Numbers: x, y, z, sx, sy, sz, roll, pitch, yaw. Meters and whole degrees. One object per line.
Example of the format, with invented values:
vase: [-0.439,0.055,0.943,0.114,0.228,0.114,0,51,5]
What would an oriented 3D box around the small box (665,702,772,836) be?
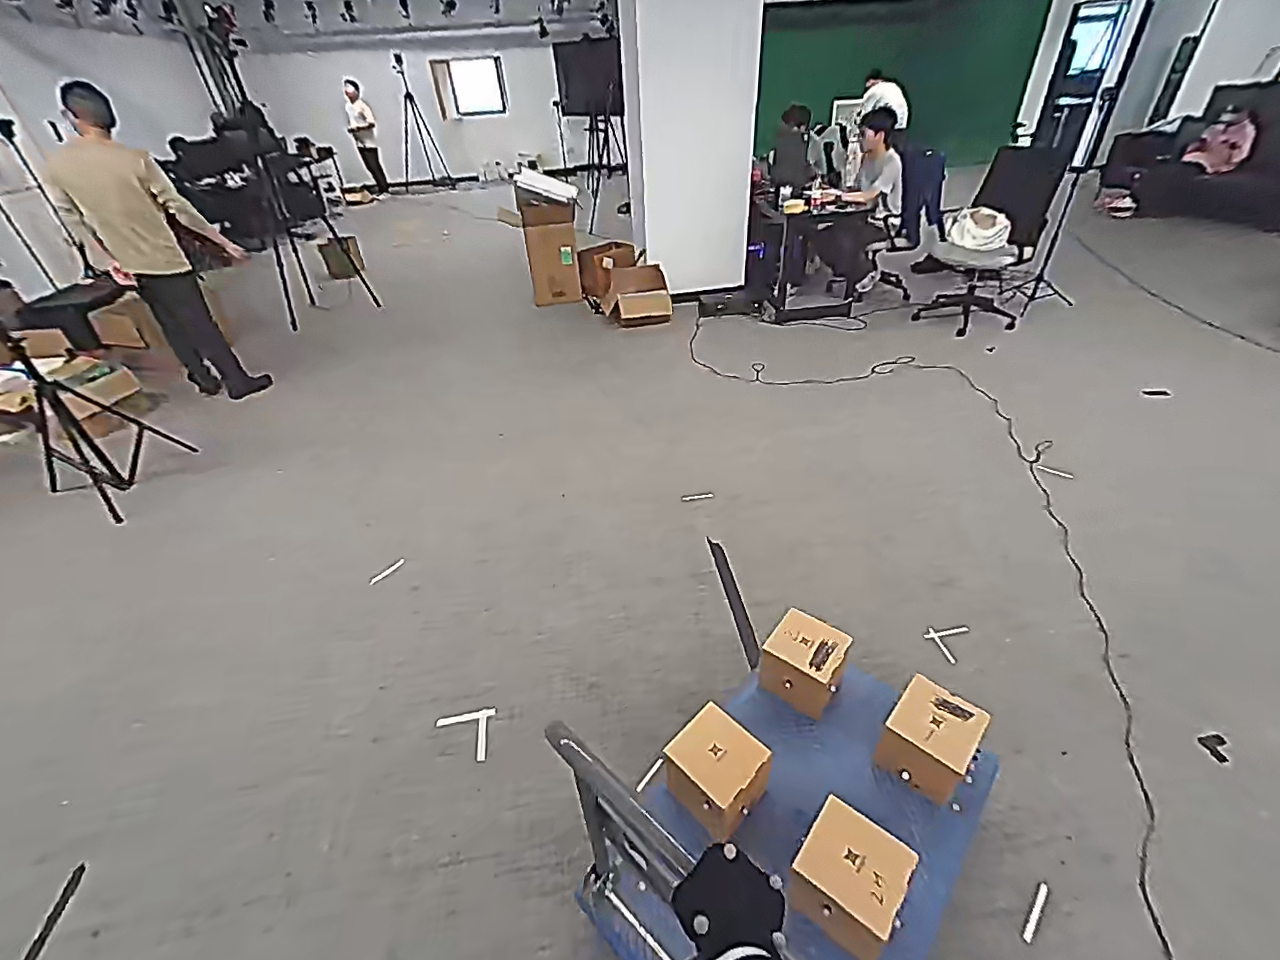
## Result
small box: [0.171,0.652,1.219,0.168,0.176,0.179,-31,46,-32]

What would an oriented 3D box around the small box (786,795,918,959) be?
small box: [0.399,0.767,1.041,0.179,0.176,0.168,25,46,34]

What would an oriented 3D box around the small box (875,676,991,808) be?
small box: [0.665,0.600,1.242,0.168,0.176,0.179,28,48,36]
